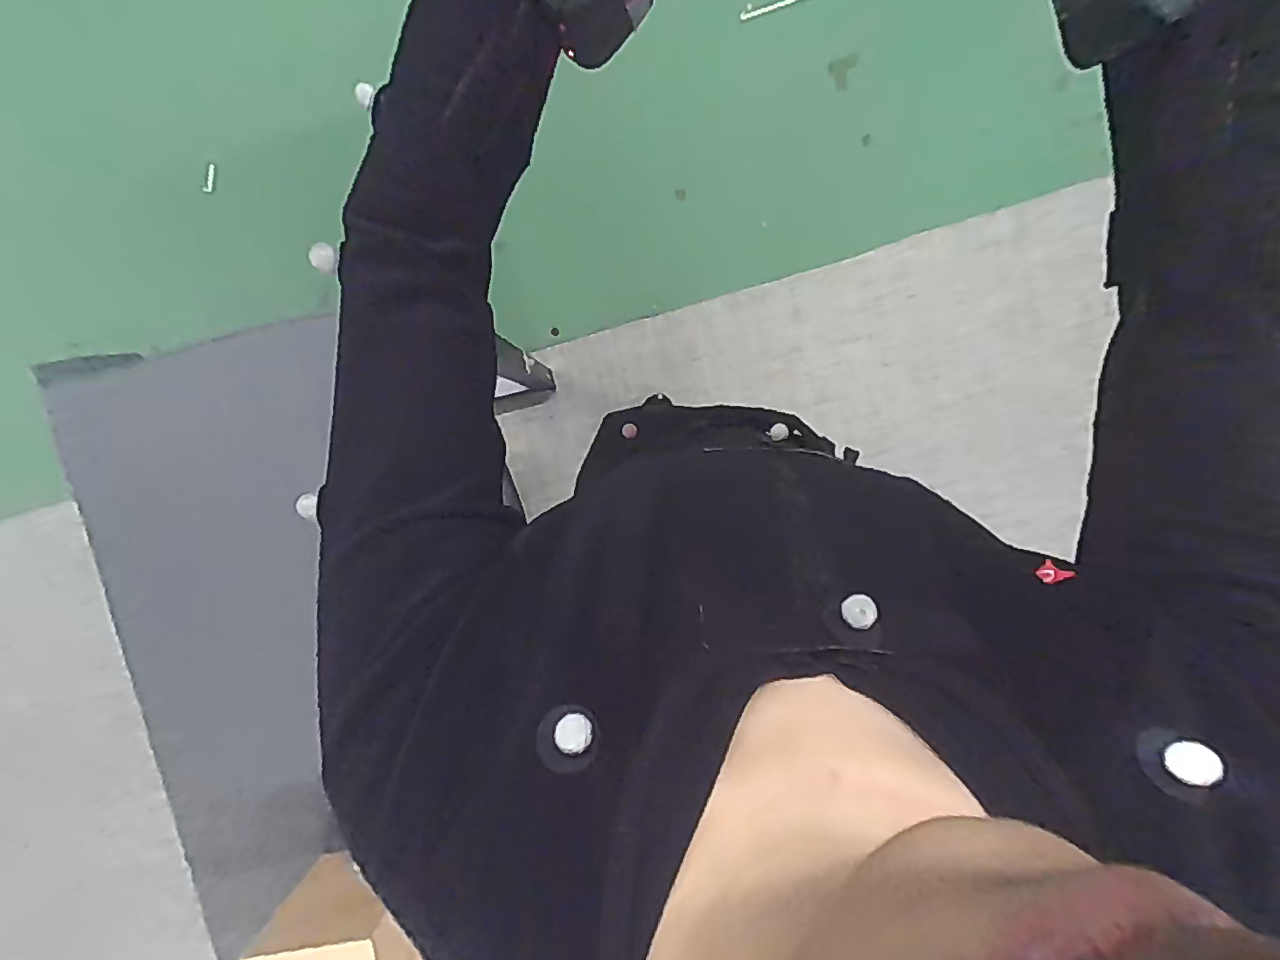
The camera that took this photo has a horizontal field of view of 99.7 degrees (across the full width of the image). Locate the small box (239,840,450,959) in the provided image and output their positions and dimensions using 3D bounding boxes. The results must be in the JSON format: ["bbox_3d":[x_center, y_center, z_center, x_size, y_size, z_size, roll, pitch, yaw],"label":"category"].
[{"bbox_3d":[-0.366,0.617,0.702,0.168,0.176,0.179,-11,92,1],"label":"small box"}]
